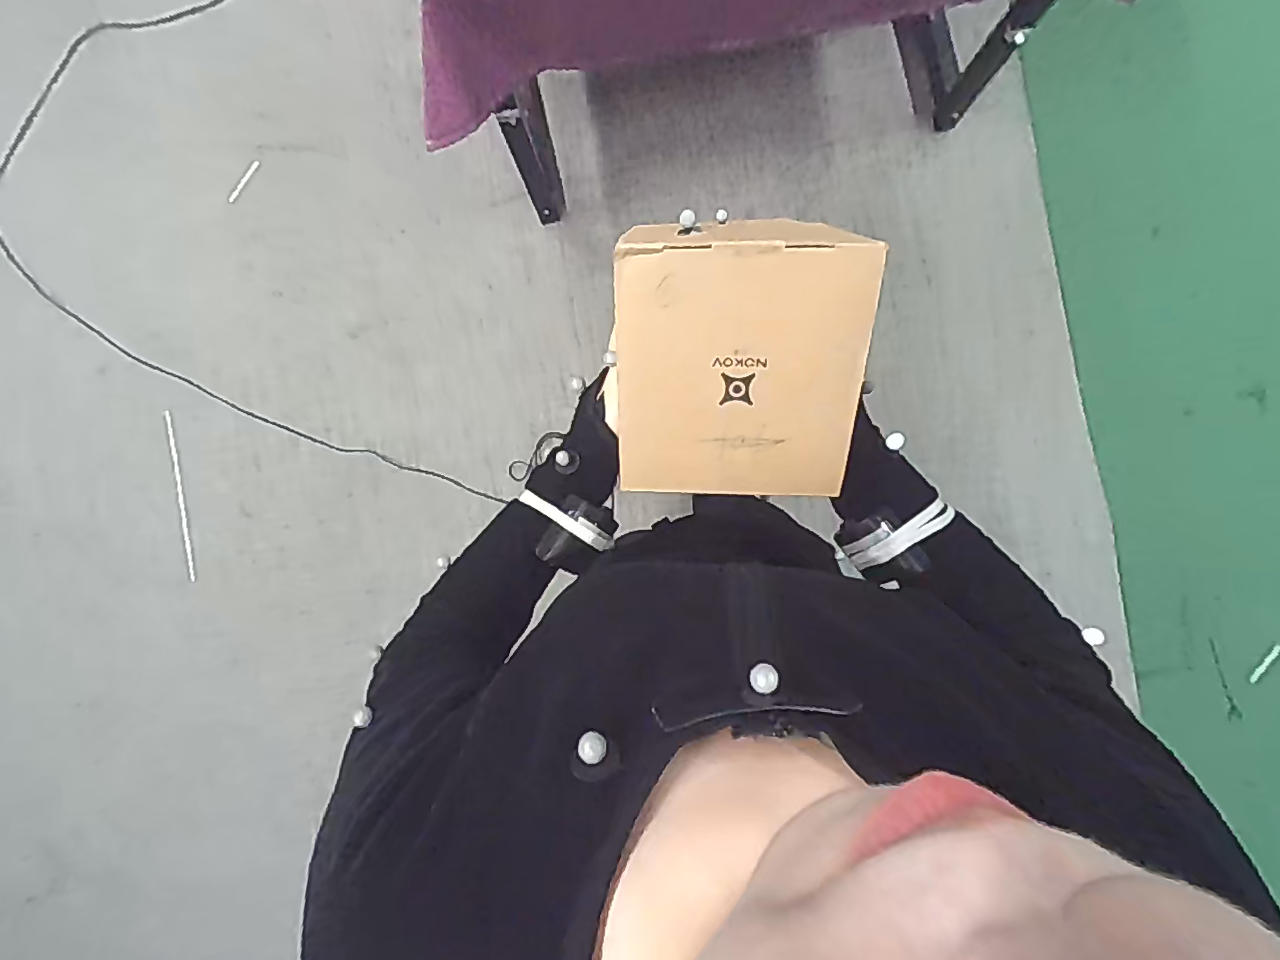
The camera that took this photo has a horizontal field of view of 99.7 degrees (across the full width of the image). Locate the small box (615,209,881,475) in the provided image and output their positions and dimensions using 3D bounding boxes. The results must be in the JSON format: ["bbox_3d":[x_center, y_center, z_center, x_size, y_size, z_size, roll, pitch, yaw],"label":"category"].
[{"bbox_3d":[0.069,-0.120,0.436,0.168,0.176,0.179,1,119,4],"label":"small box"}]
